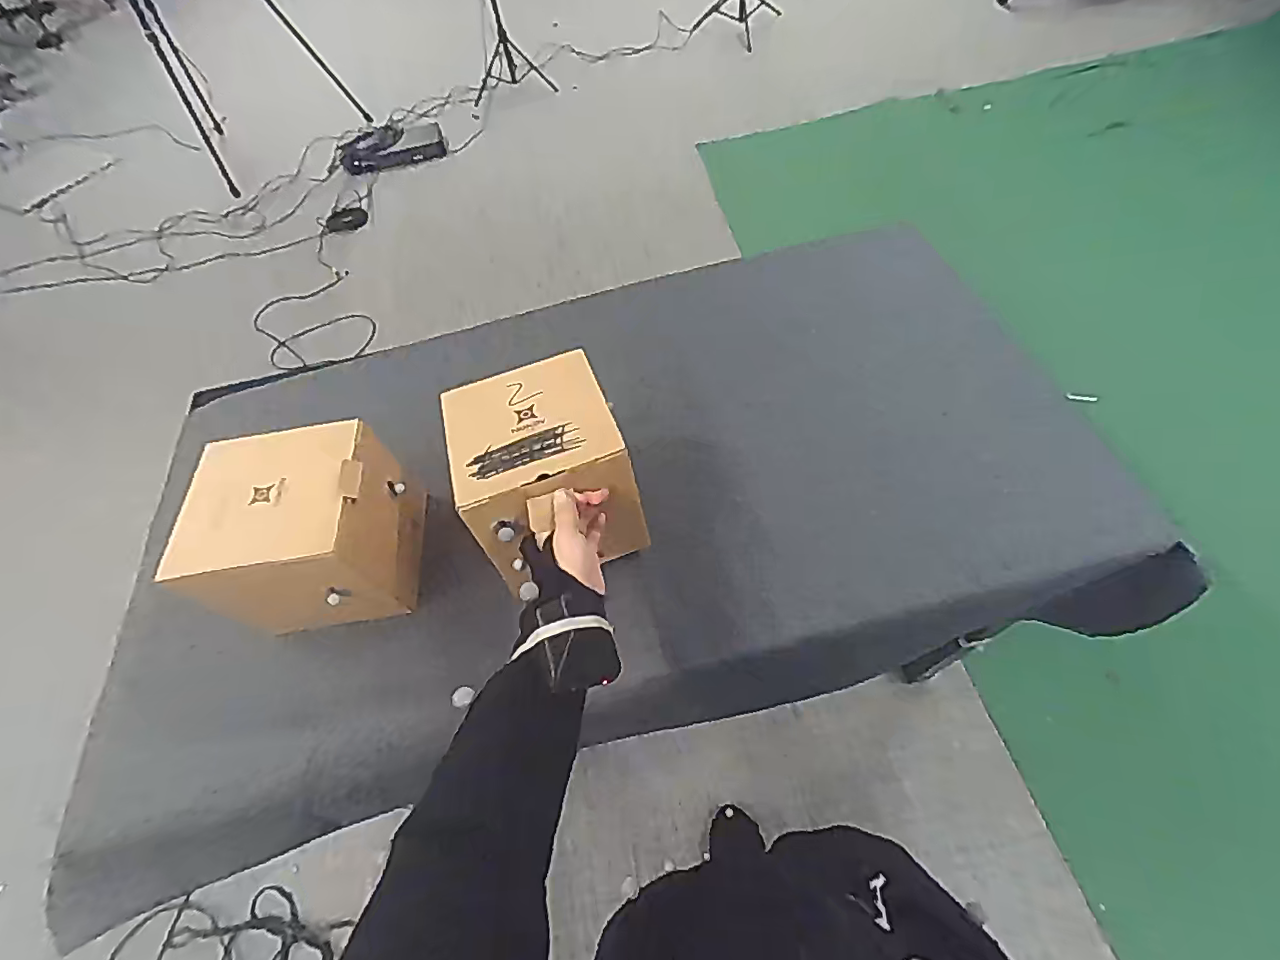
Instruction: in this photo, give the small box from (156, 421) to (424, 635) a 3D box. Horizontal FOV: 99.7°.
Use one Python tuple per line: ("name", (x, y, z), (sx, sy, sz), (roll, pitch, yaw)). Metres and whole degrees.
("small box", (-0.364, 0.060, 0.608), (0.179, 0.176, 0.168), (-10, 56, 1))
